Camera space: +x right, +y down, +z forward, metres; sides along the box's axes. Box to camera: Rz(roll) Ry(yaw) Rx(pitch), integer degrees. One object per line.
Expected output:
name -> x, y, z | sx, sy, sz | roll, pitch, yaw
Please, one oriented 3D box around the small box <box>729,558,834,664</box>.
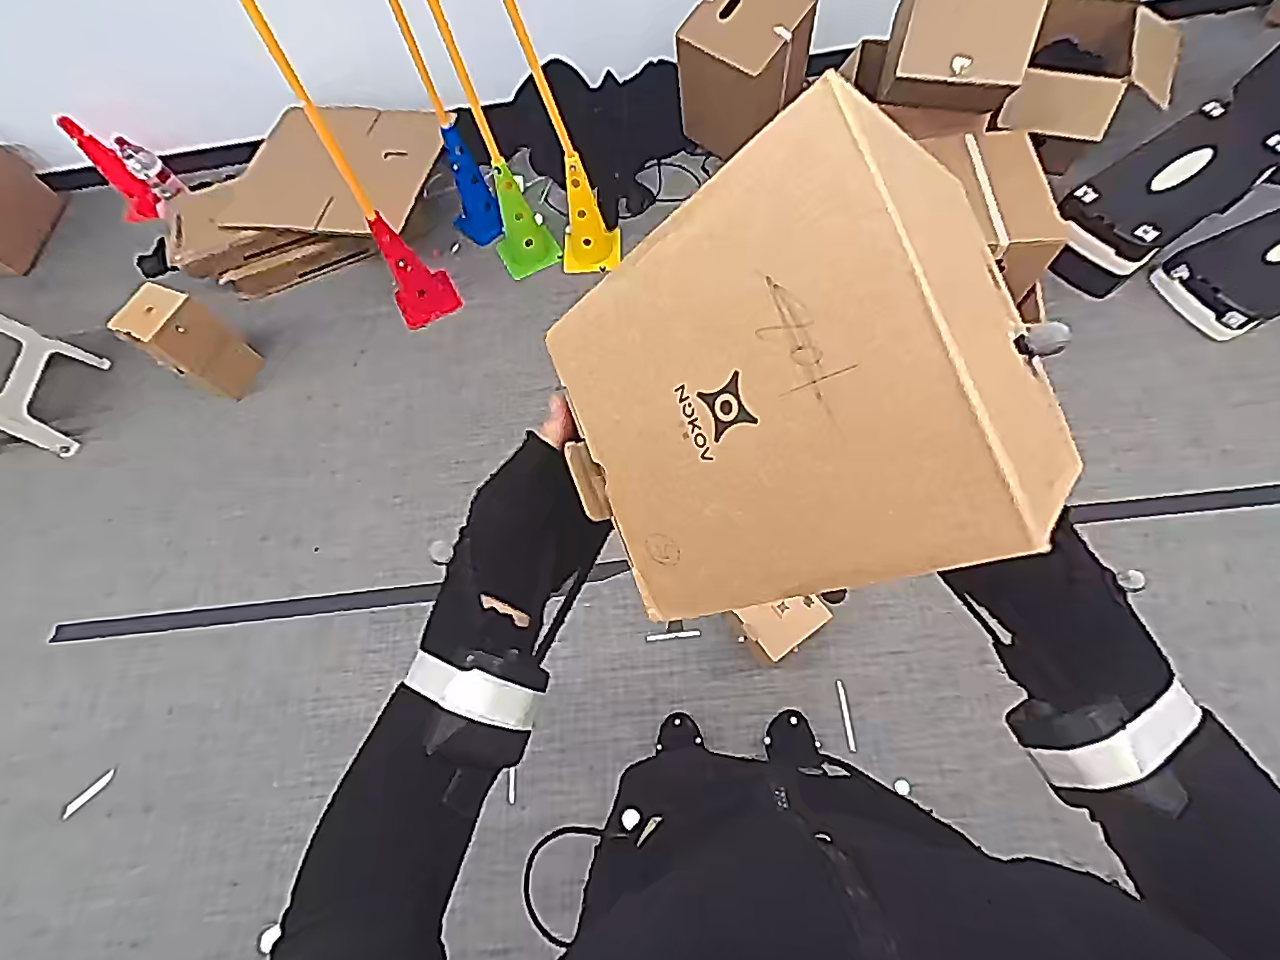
small box -> 0.332, 0.320, 1.299 | 0.179, 0.176, 0.168 | -37, 68, -10
